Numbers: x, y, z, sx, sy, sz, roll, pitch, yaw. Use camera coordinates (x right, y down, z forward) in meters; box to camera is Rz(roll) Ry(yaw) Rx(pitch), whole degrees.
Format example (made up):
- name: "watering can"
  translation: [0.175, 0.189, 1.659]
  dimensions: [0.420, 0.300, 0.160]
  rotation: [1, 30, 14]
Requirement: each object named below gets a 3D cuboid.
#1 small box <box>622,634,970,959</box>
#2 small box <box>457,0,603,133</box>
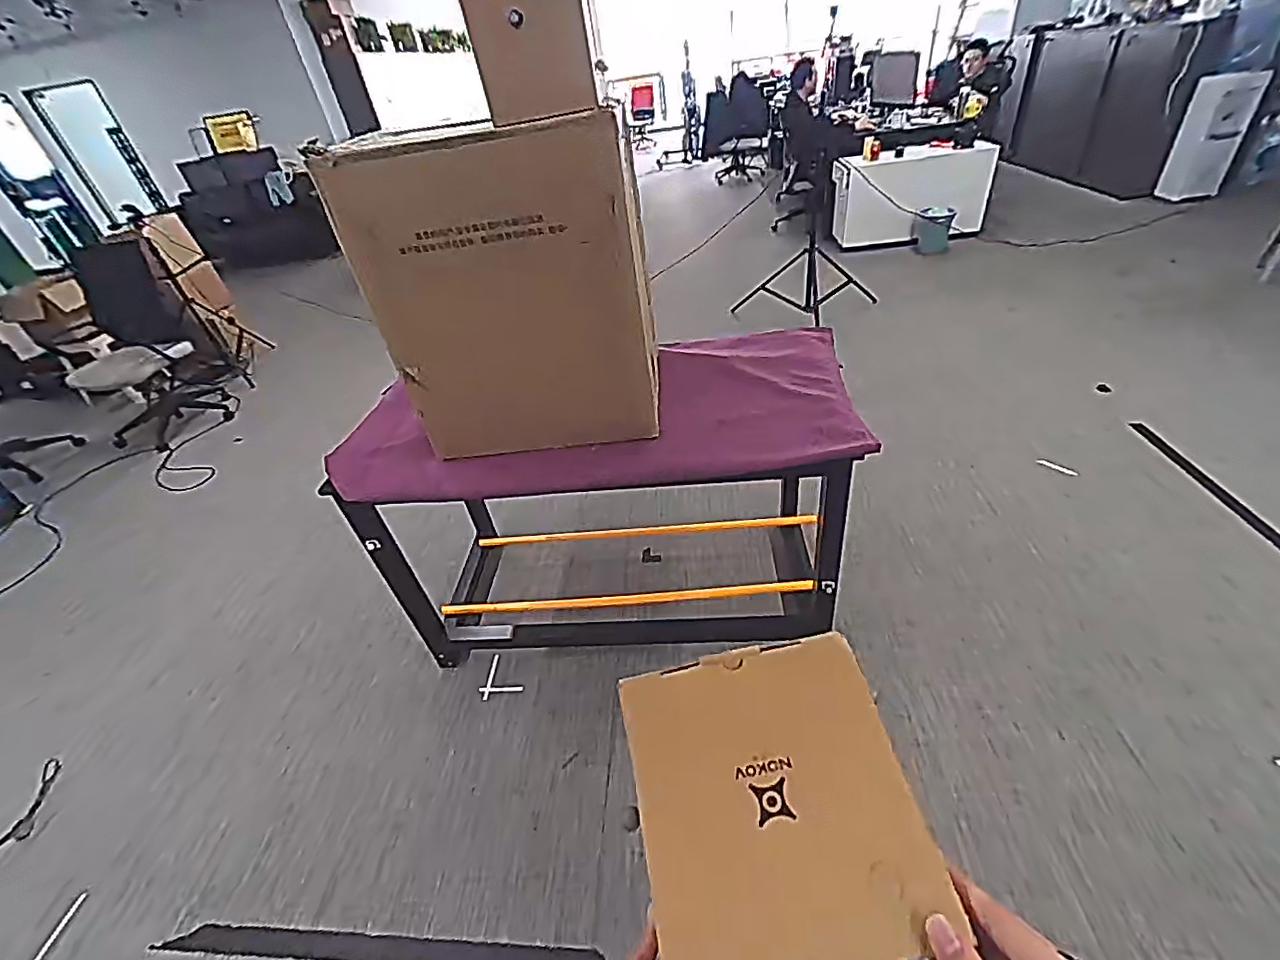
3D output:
- name: "small box"
  translation: [0.092, 0.241, 0.395]
  dimensions: [0.168, 0.176, 0.179]
  rotation: [-13, 51, -1]
- name: "small box"
  translation: [-0.164, -0.676, 0.872]
  dimensions: [0.179, 0.176, 0.168]
  rotation: [-8, 38, 5]
